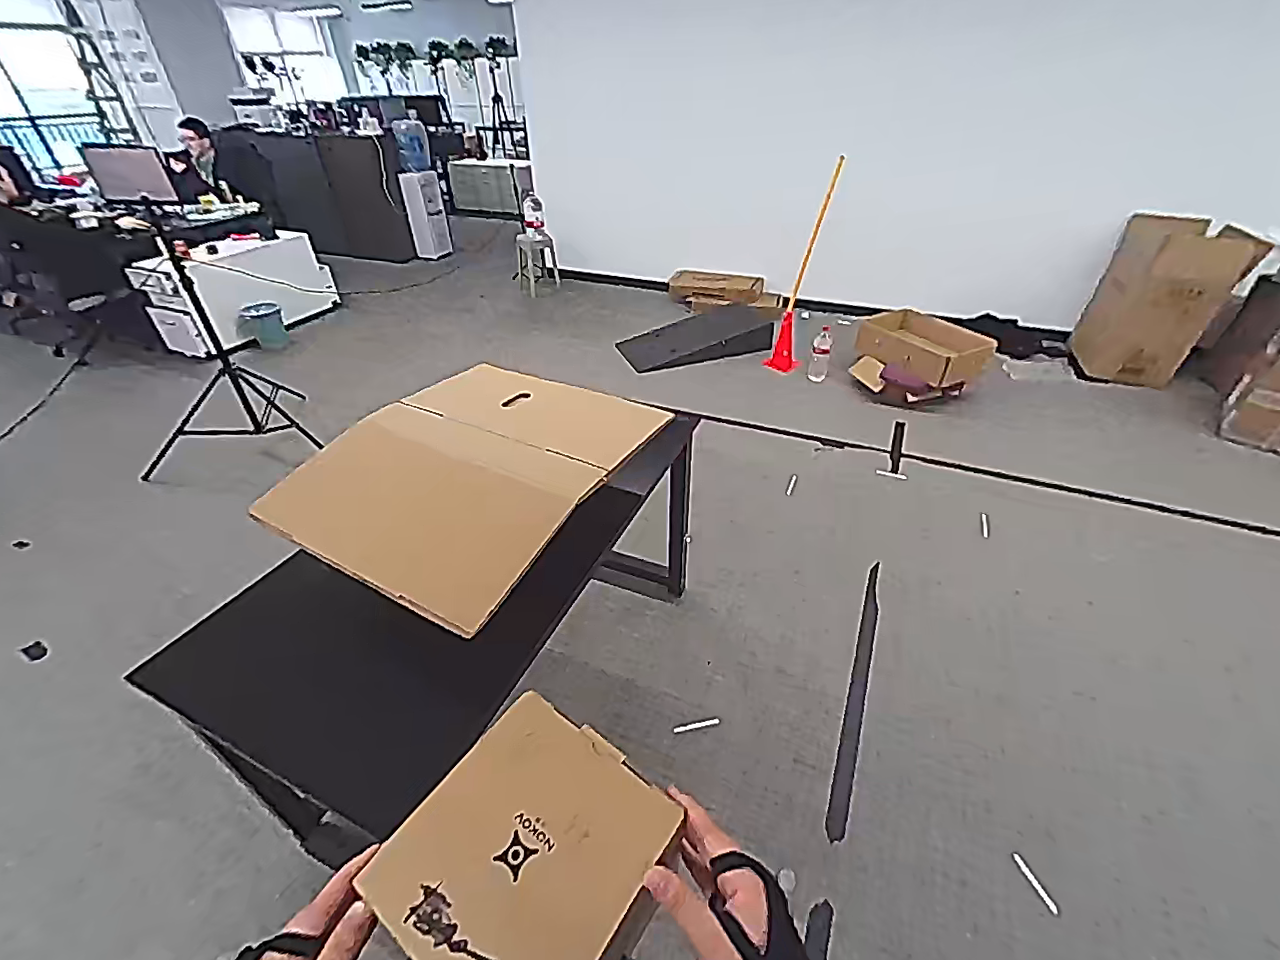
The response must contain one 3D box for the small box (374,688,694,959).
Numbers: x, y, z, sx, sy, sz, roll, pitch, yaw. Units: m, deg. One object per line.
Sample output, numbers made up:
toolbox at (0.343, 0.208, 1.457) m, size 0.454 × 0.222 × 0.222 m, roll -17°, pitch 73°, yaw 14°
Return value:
small box at (-0.075, 0.321, 0.447) m, size 0.168 × 0.176 × 0.179 m, roll 25°, pitch 47°, yaw 27°
